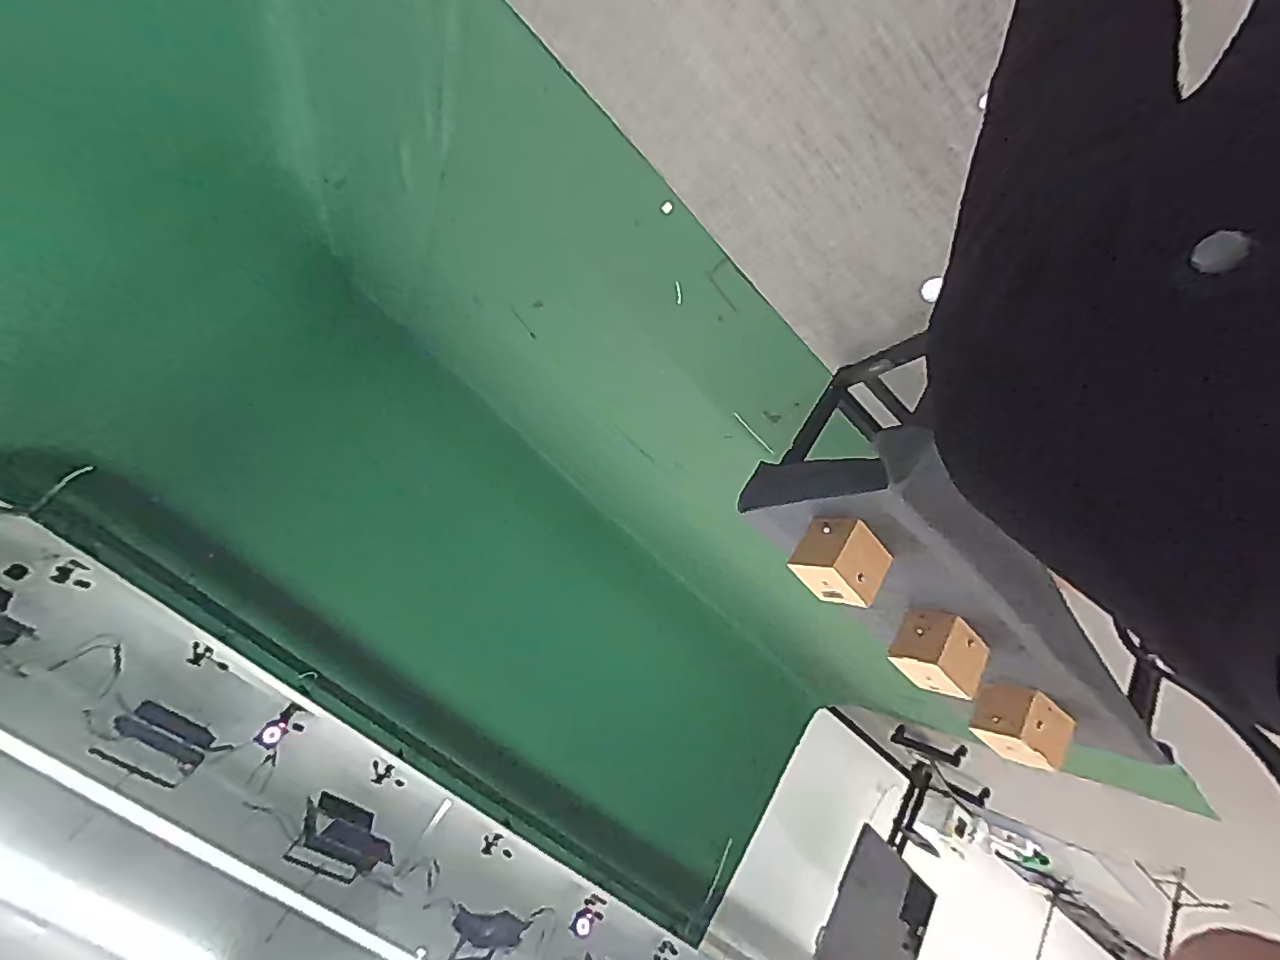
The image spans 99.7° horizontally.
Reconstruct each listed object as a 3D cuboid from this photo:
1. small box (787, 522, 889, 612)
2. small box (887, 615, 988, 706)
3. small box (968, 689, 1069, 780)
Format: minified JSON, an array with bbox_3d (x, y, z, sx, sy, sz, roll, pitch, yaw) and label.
[{"bbox_3d":[0.549,0.234,1.488,0.179,0.176,0.168,46,156,-19],"label":"small box"},{"bbox_3d":[0.866,0.516,1.572,0.179,0.176,0.168,44,157,-15],"label":"small box"},{"bbox_3d":[1.144,0.754,1.624,0.168,0.176,0.179,41,160,-5],"label":"small box"}]
